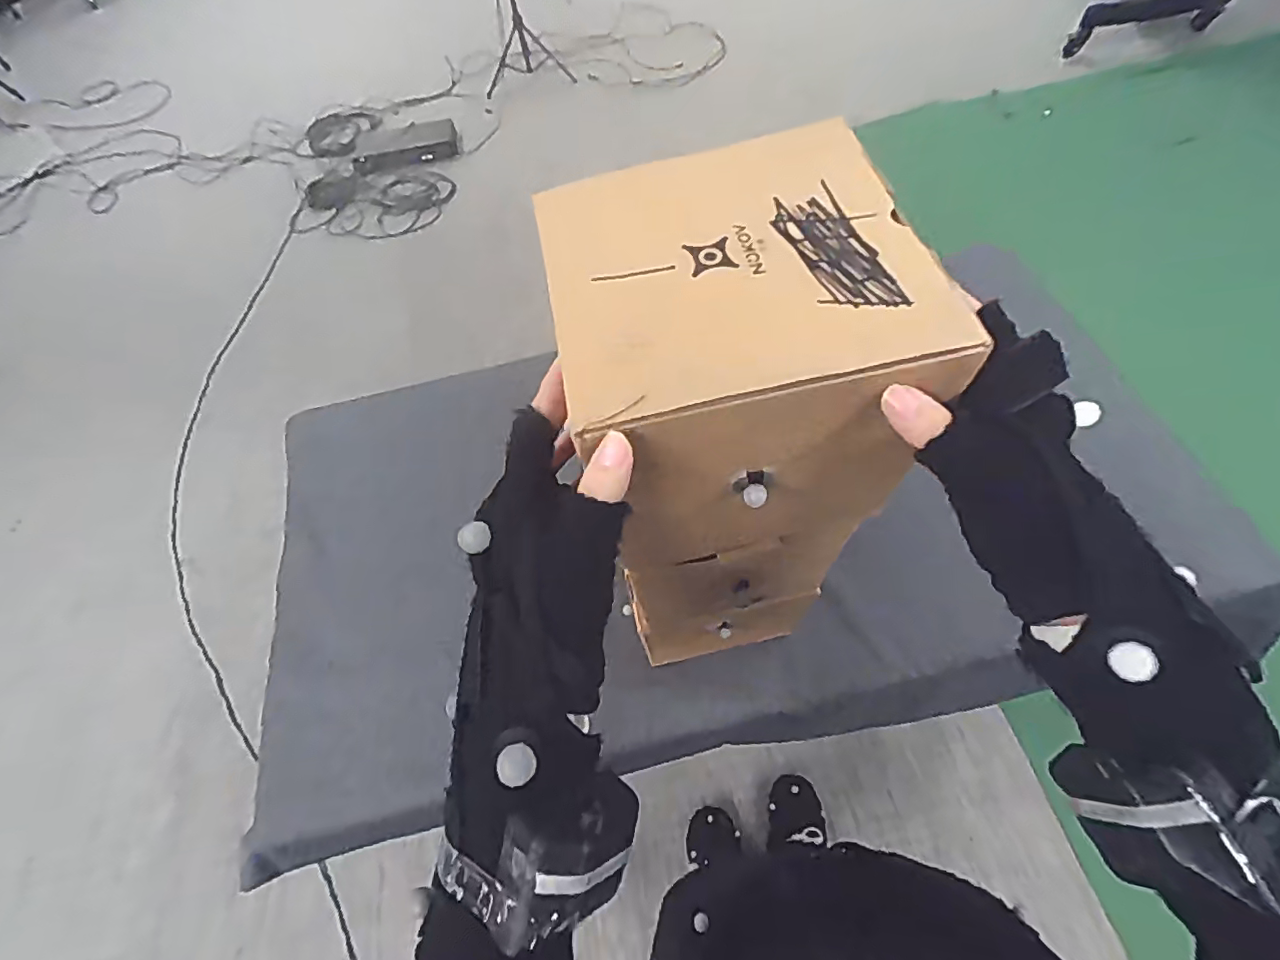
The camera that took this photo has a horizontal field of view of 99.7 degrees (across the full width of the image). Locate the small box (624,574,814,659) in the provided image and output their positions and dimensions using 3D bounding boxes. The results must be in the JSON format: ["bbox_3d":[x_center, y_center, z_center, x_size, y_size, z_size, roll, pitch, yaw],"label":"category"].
[{"bbox_3d":[0.072,0.092,0.612,0.179,0.176,0.168,-12,62,-2],"label":"small box"}]

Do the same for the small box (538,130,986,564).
[{"bbox_3d":[0.050,-0.065,0.325,0.179,0.176,0.168,-12,61,0],"label":"small box"}]

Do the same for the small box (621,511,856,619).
[{"bbox_3d":[0.058,0.011,0.471,0.168,0.176,0.179,-15,62,-2],"label":"small box"}]
